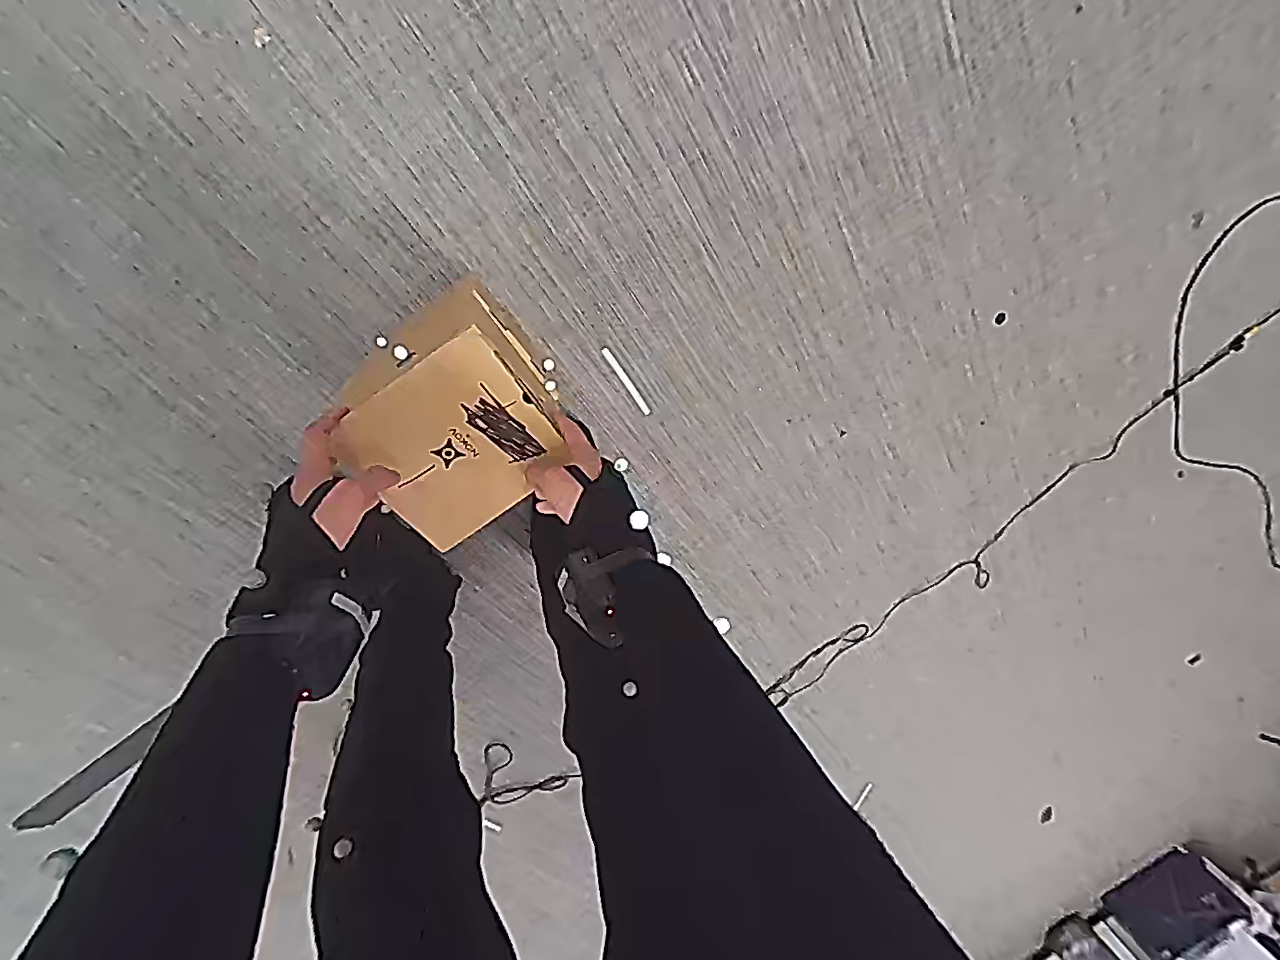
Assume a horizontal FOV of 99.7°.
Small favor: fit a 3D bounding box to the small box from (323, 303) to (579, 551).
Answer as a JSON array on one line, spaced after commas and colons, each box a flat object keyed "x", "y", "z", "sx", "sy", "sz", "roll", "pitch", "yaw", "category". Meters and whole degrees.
[{"x": -0.193, "y": -0.066, "z": 0.579, "sx": 0.179, "sy": 0.176, "sz": 0.168, "roll": -35, "pitch": 122, "yaw": 2, "category": "small box"}]
